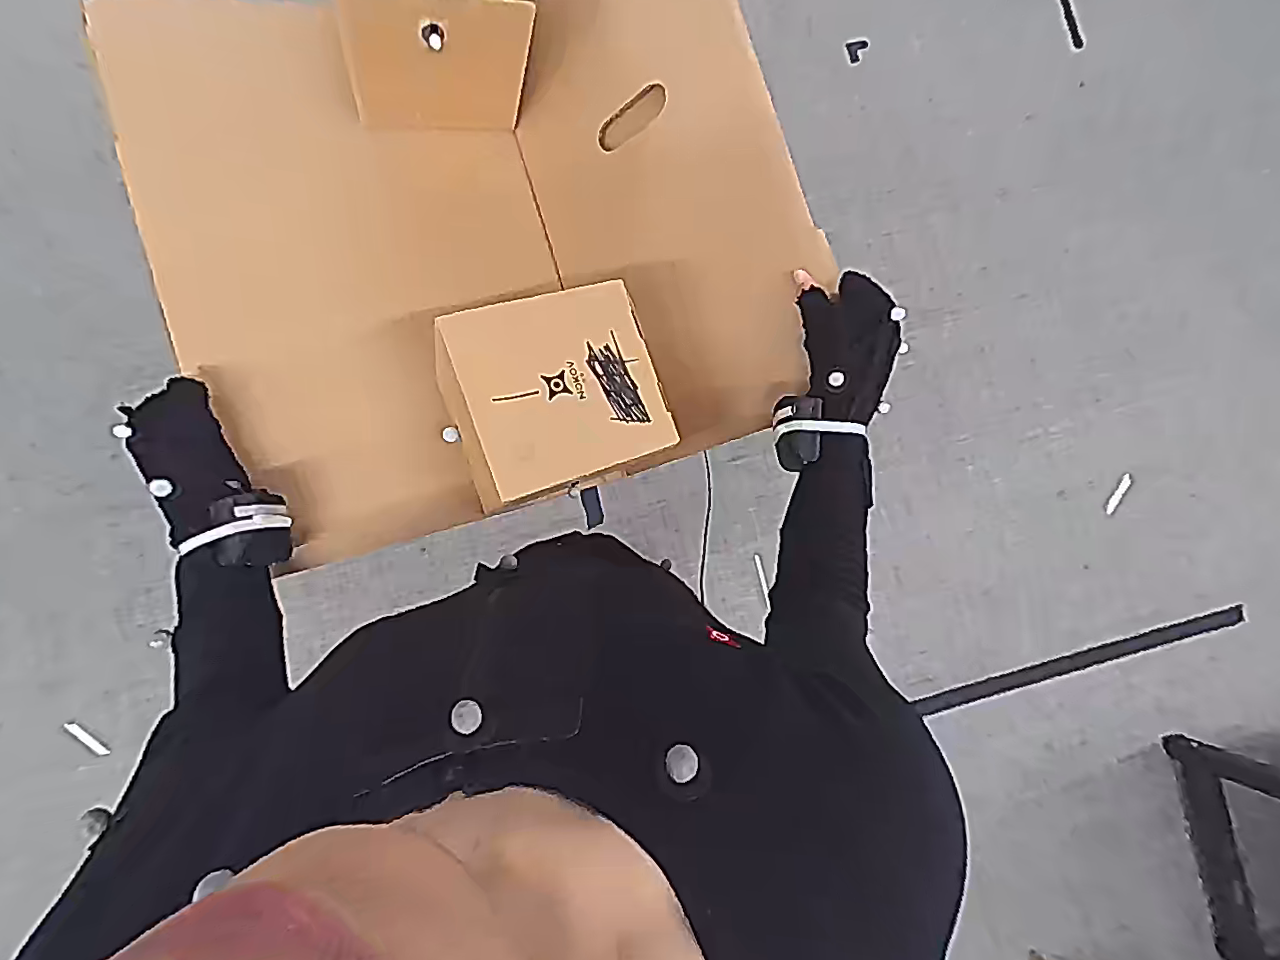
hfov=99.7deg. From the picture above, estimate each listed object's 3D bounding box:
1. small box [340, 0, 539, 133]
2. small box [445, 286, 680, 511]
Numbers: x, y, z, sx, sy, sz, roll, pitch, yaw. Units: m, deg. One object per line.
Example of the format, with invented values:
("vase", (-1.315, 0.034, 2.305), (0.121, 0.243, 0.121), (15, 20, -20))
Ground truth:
("small box", (-0.220, -0.501, 0.570), (0.179, 0.176, 0.168), (-13, 87, -22))
("small box", (-0.090, -0.074, 0.556), (0.179, 0.176, 0.168), (-20, 90, -21))
